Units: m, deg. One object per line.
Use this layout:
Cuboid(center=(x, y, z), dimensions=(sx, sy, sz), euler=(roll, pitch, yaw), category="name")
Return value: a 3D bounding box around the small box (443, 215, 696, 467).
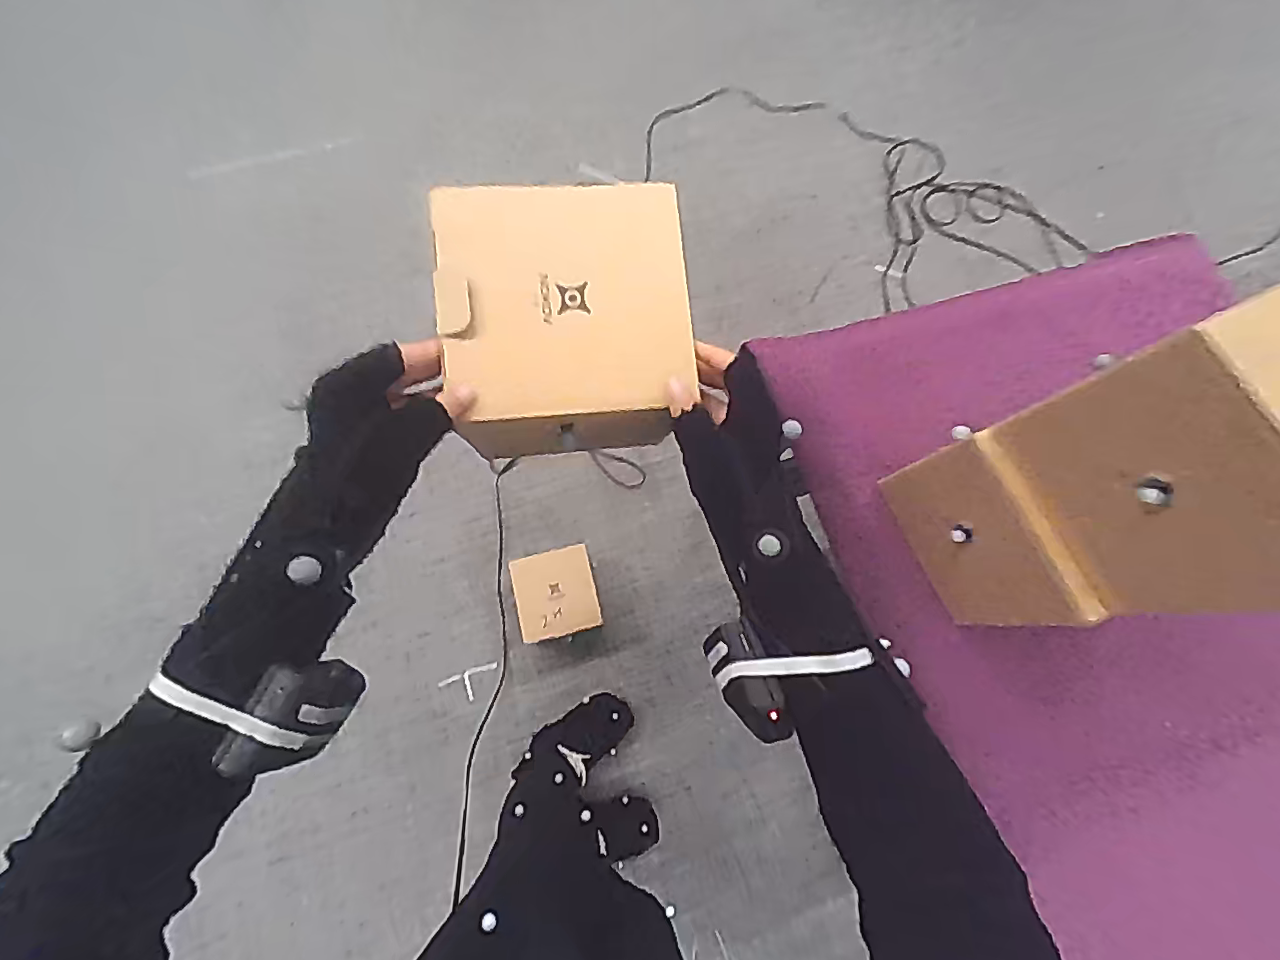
Cuboid(center=(-0.061, -0.106, 0.471), dimensions=(0.179, 0.176, 0.168), euler=(-4, 84, -7), category="small box")
